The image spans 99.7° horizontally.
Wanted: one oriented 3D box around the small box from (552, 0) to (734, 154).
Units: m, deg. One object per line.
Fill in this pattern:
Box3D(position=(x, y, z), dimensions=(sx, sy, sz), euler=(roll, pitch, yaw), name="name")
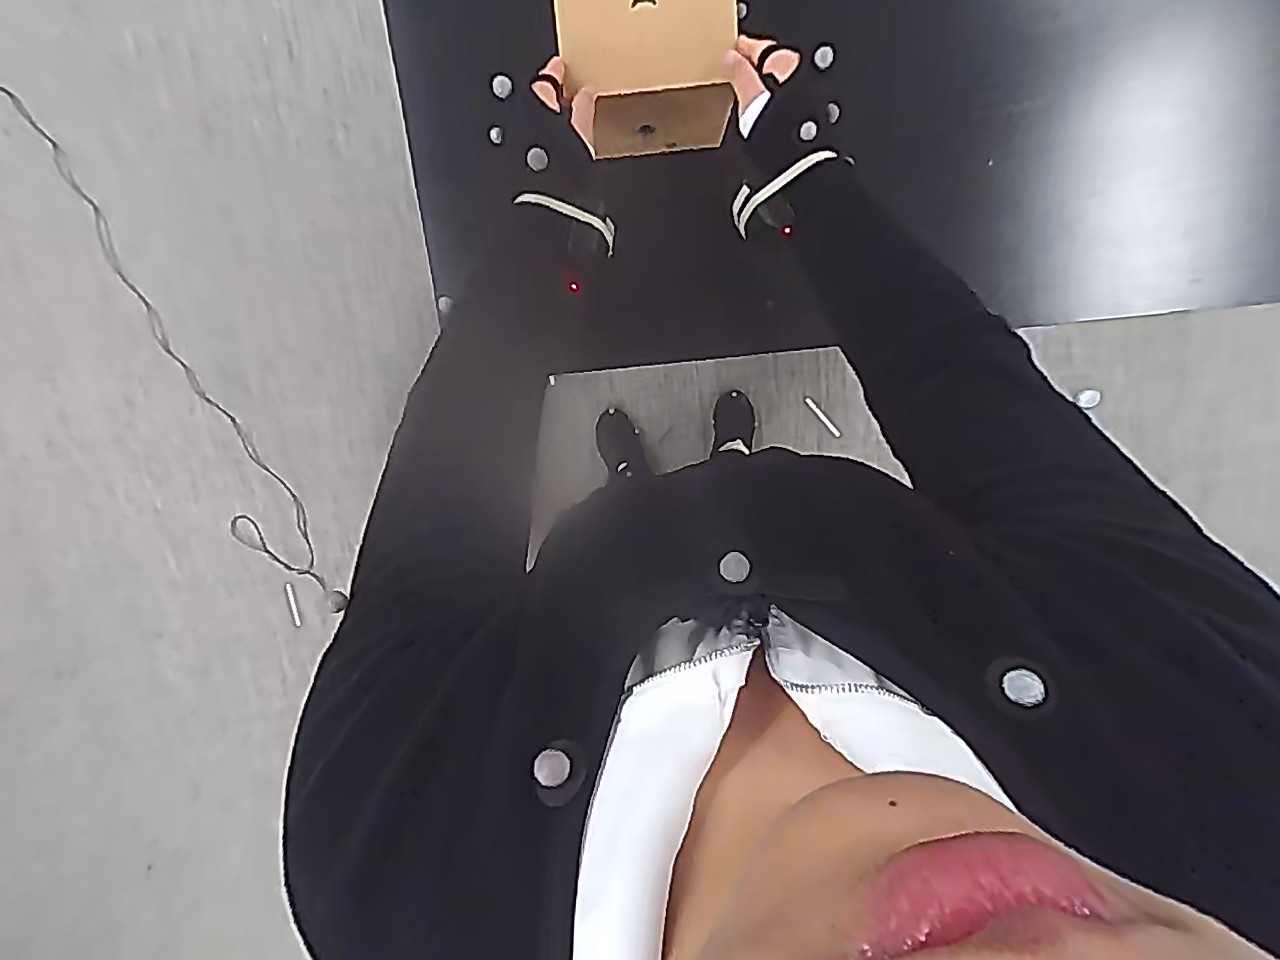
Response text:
Box3D(position=(0.005, -0.462, 0.562), dimensions=(0.168, 0.176, 0.179), euler=(-4, 102, 3), name="small box")
